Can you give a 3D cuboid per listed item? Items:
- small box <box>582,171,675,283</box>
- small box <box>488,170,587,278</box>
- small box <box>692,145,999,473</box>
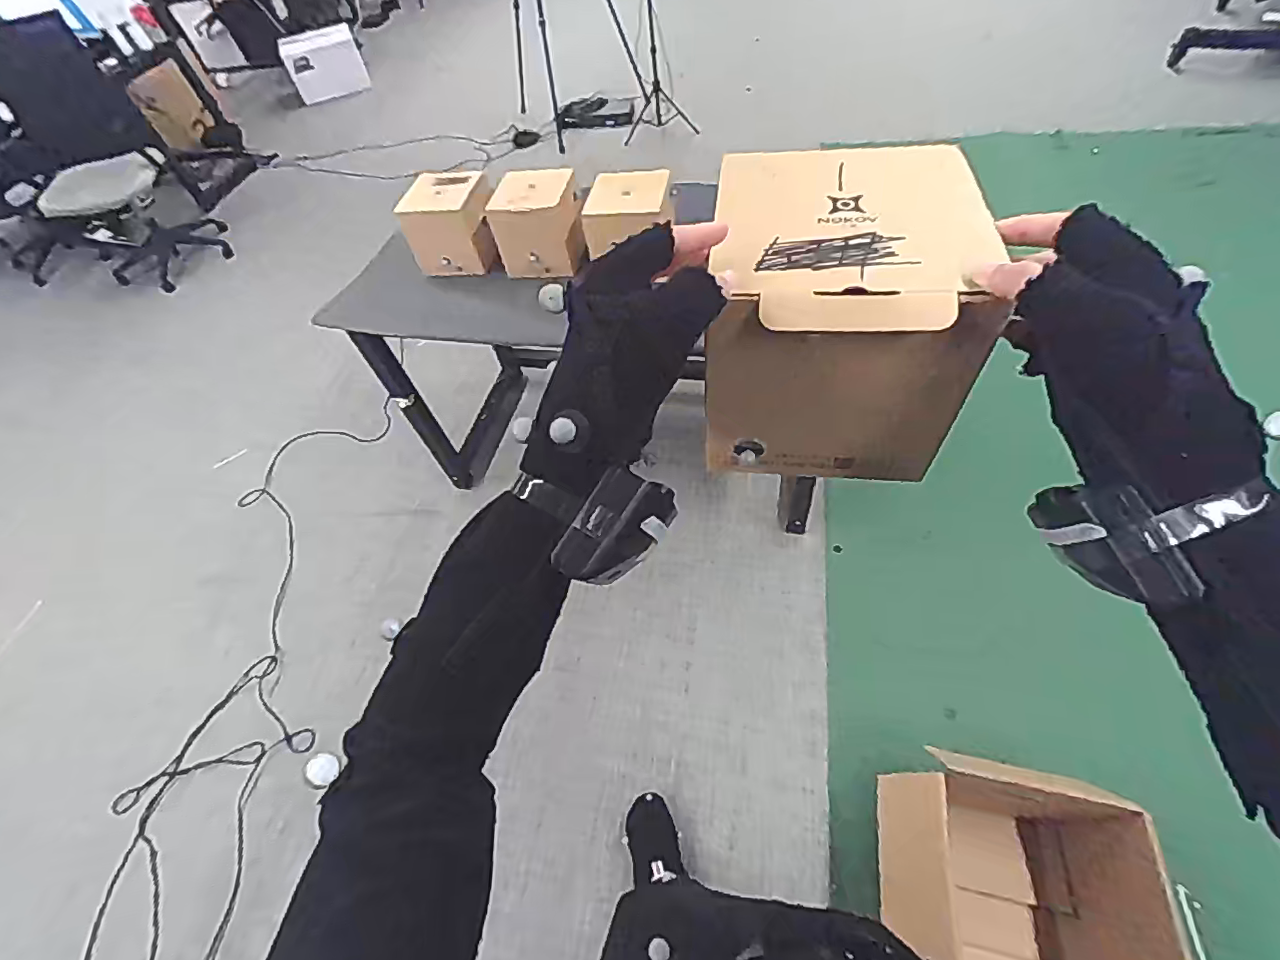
[{"bbox_3d":[-0.016,-0.559,1.206,0.168,0.176,0.179,4,54,11],"label":"small box"},{"bbox_3d":[-0.229,-0.597,1.264,0.168,0.176,0.179,3,55,11],"label":"small box"},{"bbox_3d":[0.131,-0.121,0.409,0.168,0.176,0.179,3,54,9],"label":"small box"}]
